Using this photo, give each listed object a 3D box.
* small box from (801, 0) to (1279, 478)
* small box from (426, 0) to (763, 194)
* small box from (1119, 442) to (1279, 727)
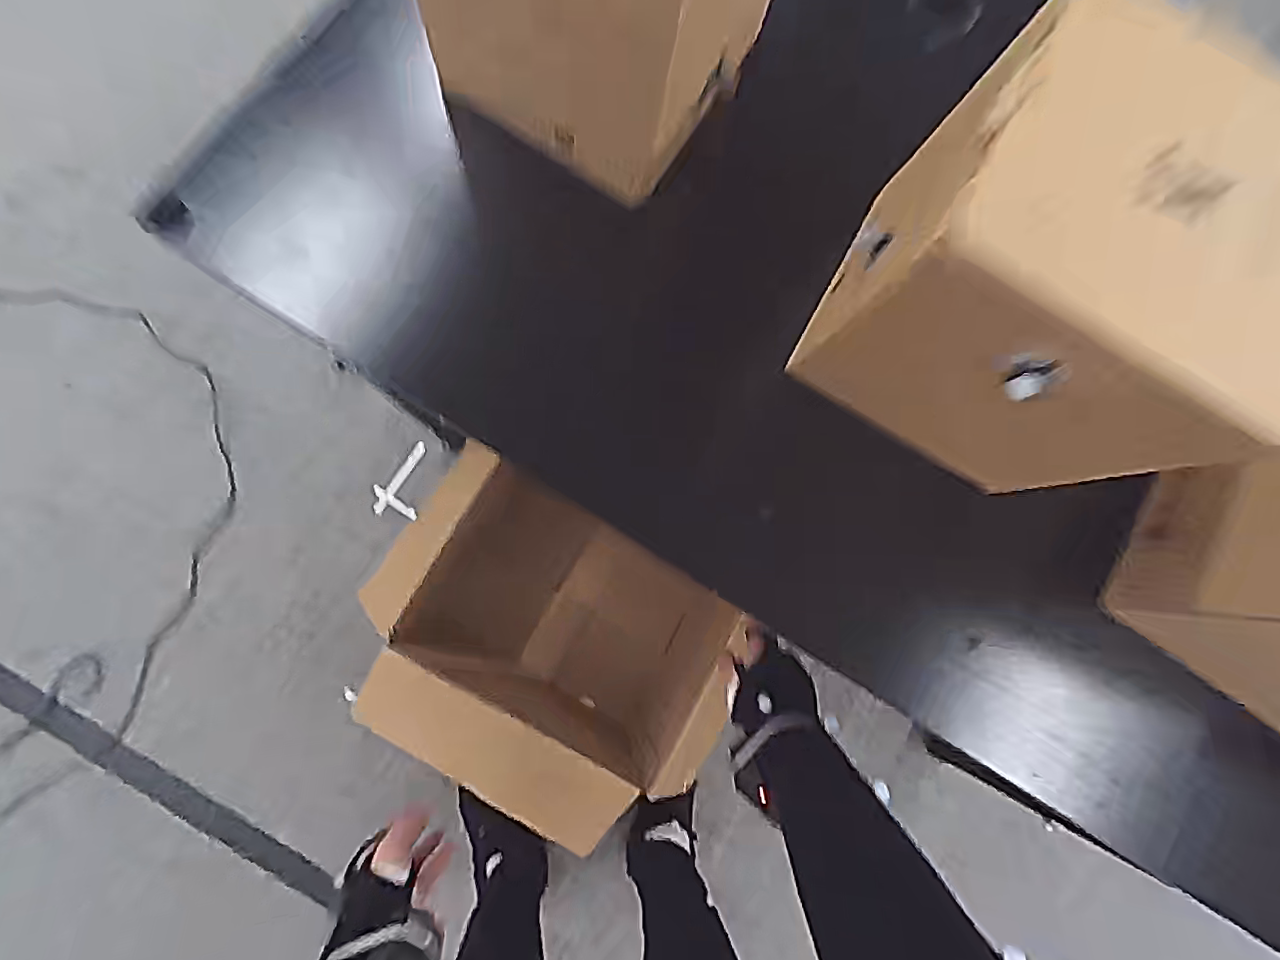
[{"bbox_3d":[0.223,-0.114,0.308,0.179,0.176,0.168,30,81,-3],"label":"small box"},{"bbox_3d":[-0.016,-0.313,0.301,0.168,0.176,0.179,32,79,-3],"label":"small box"},{"bbox_3d":[0.444,0.059,0.310,0.179,0.176,0.168,35,79,-1],"label":"small box"}]
